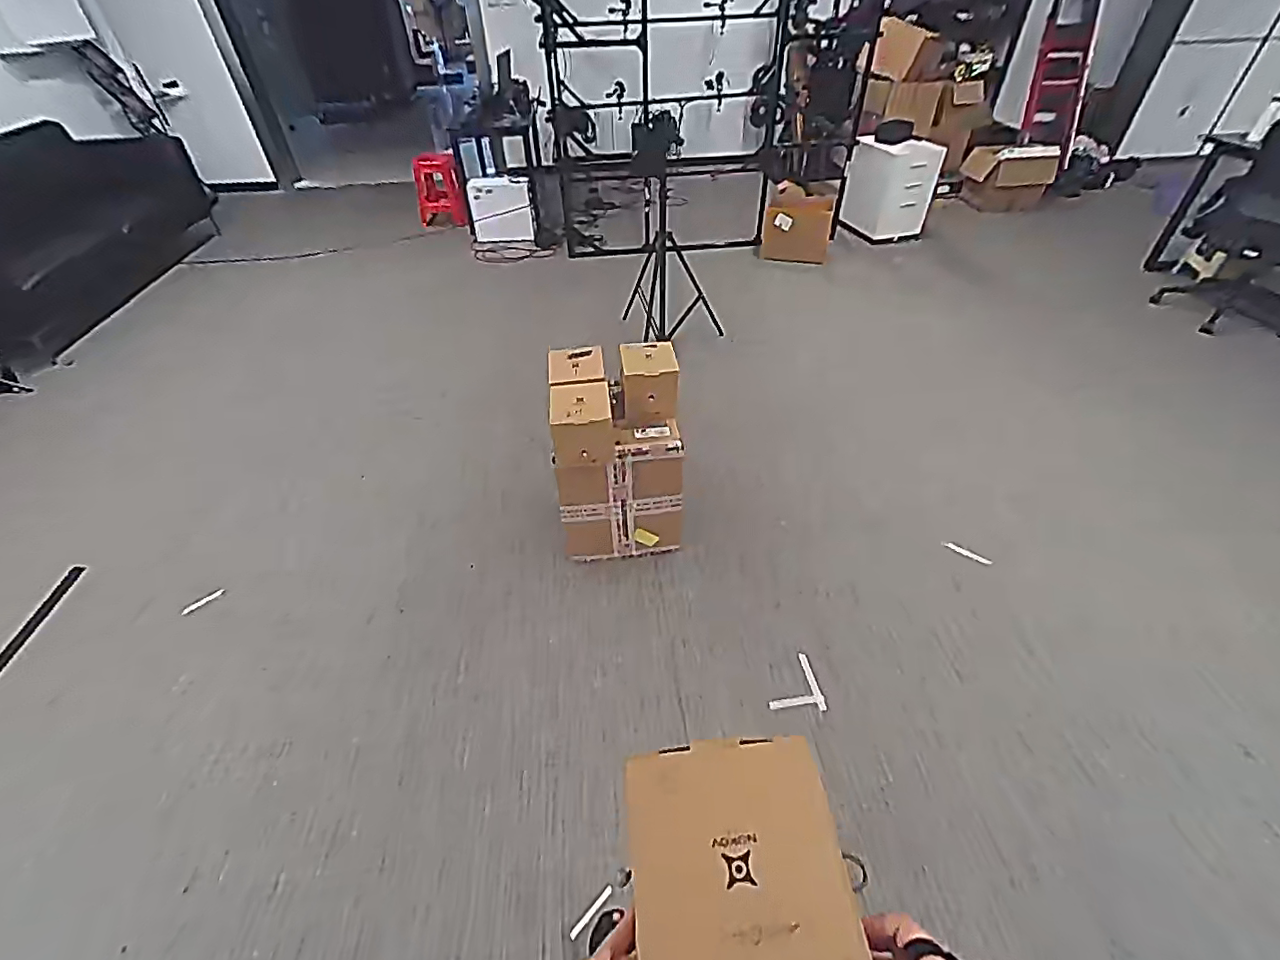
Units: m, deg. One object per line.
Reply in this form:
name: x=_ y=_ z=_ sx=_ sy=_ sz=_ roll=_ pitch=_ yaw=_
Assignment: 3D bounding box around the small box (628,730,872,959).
small box: x=0.076 y=0.347 z=0.481 sx=0.168 sy=0.176 sz=0.179 roll=-4 pitch=47 yaw=-4
